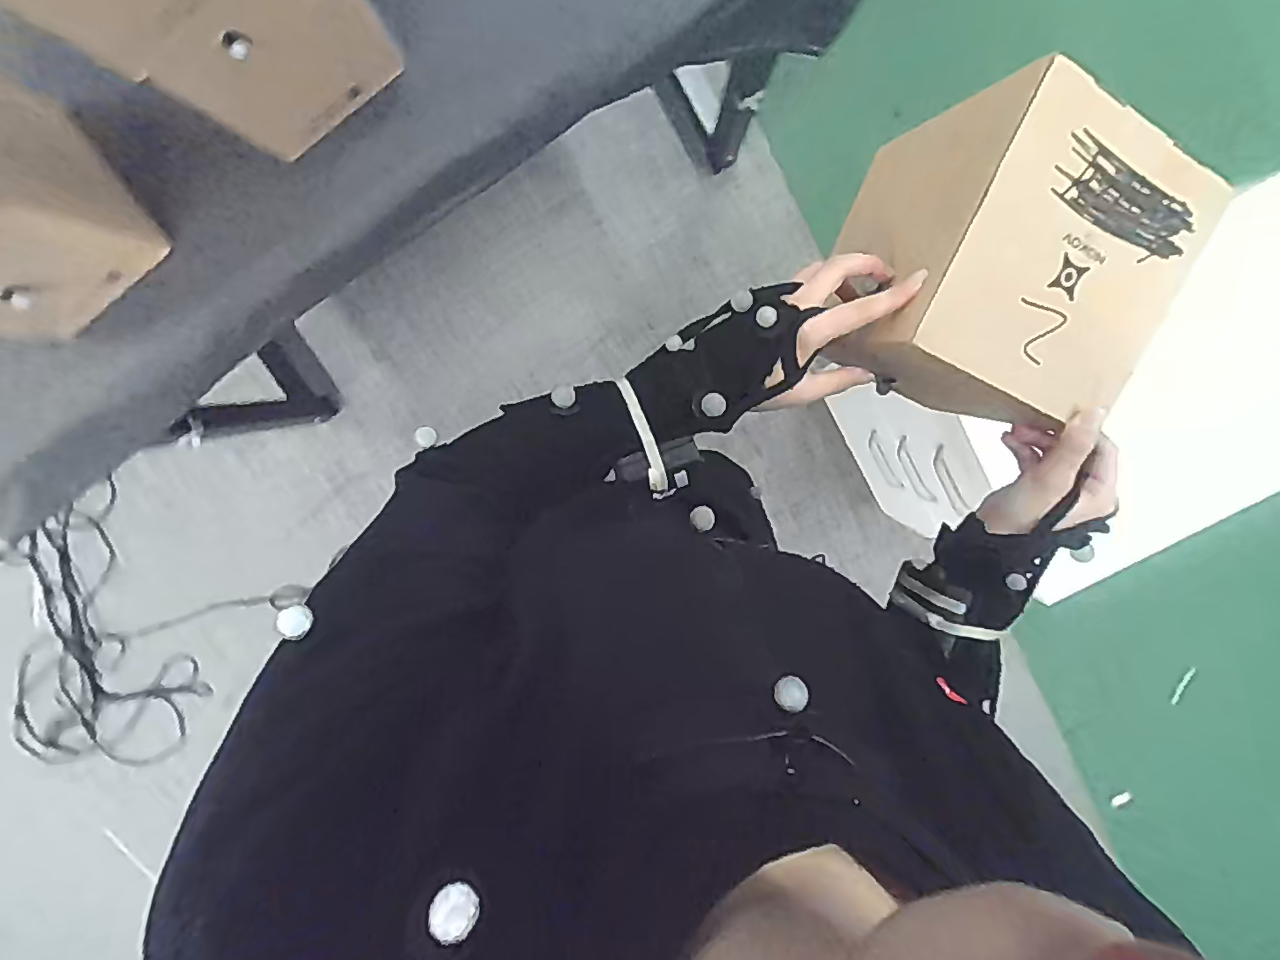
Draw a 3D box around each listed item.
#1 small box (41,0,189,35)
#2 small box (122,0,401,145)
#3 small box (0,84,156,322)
[{"bbox_3d":[-0.352,-0.404,0.298,0.168,0.176,0.179,-33,99,5],"label":"small box"},{"bbox_3d":[-0.348,-0.439,0.461,0.168,0.176,0.179,-33,98,6],"label":"small box"},{"bbox_3d":[-0.620,-0.261,0.495,0.168,0.176,0.179,-34,99,4],"label":"small box"}]
